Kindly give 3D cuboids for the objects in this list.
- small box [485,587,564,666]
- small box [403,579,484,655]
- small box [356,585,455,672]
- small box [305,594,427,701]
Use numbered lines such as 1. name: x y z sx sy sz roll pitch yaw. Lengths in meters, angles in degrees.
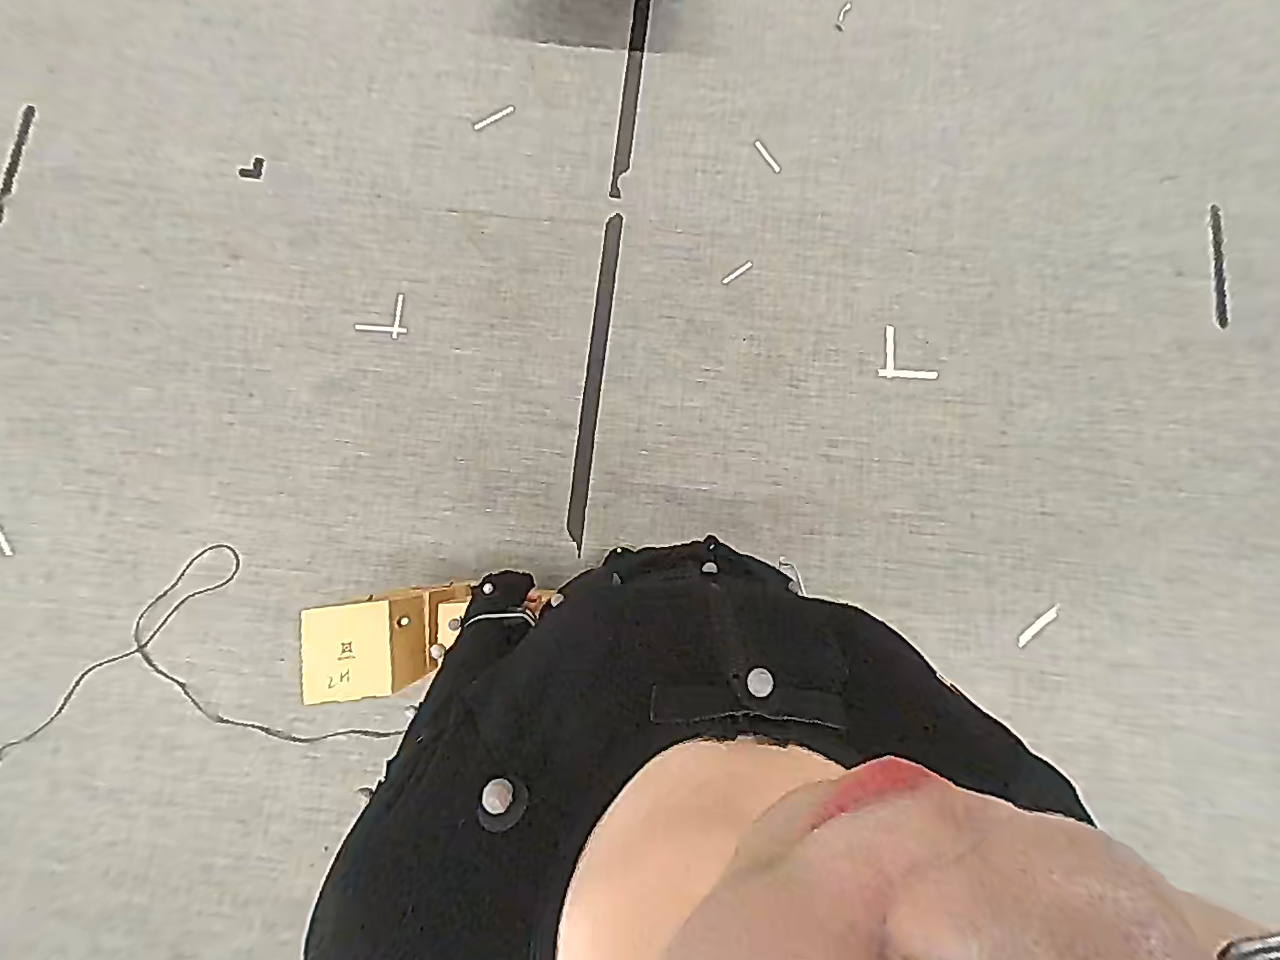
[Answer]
1. small box: -0.295 0.375 1.415 0.168 0.176 0.179 3 83 0
2. small box: -0.512 0.357 1.414 0.168 0.176 0.179 -4 82 -1
3. small box: -0.536 0.340 1.251 0.168 0.176 0.179 -3 82 -1
4. small box: -0.543 0.325 1.086 0.168 0.176 0.179 -6 83 -1
